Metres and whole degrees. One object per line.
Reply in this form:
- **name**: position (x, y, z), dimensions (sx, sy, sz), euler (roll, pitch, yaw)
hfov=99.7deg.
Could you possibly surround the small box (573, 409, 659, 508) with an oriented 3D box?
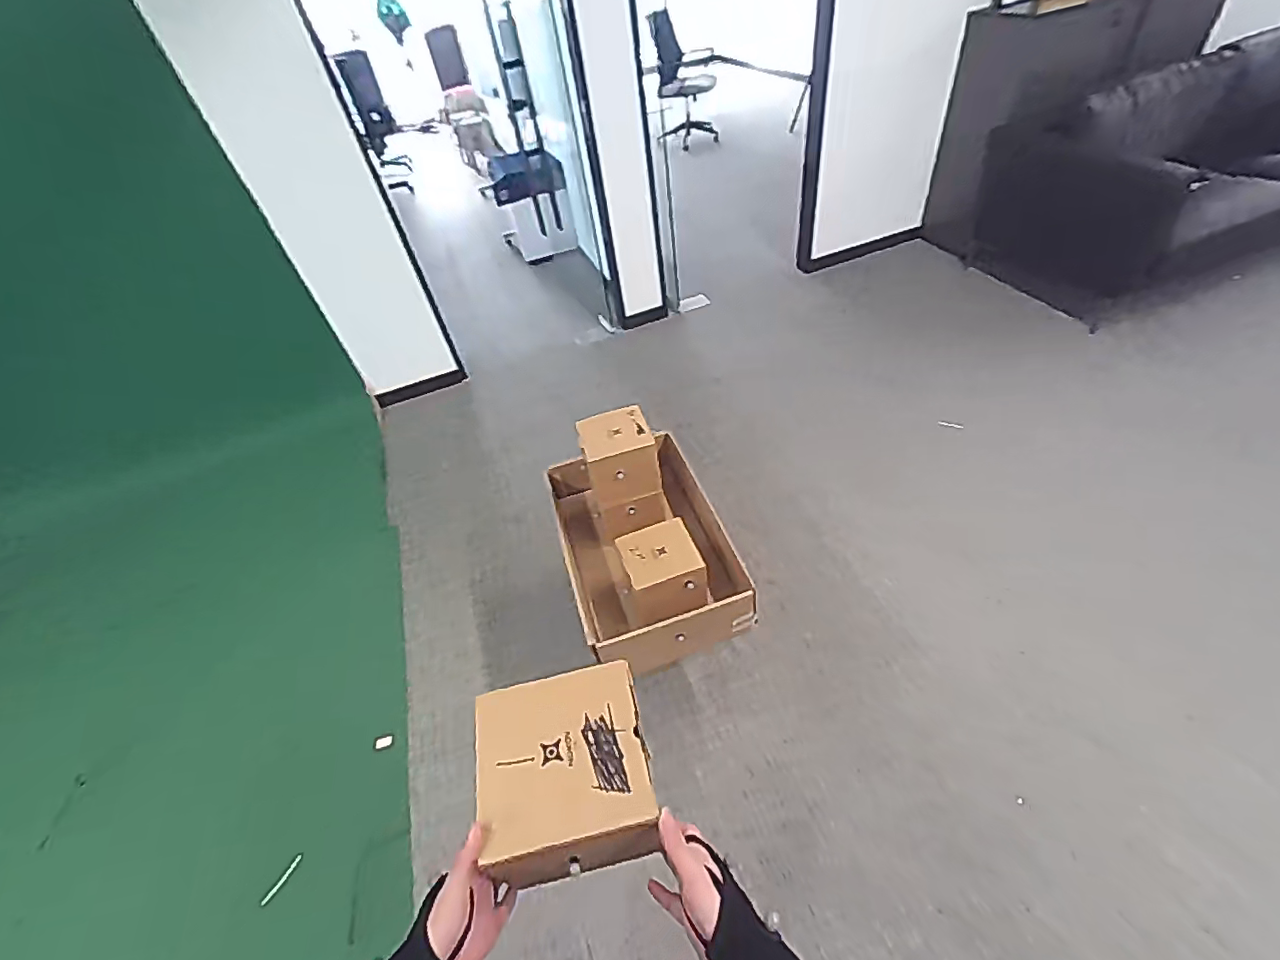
- **small box**: position (-0.059, -0.052, 1.409), dimensions (0.179, 0.176, 0.168), euler (-16, 47, -6)

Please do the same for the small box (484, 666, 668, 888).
- **small box**: position (-0.070, 0.339, 0.616), dimensions (0.179, 0.176, 0.168), euler (-10, 46, -6)

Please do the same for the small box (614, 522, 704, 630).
- **small box**: position (0.049, 0.238, 1.331), dimensions (0.179, 0.176, 0.168), euler (-18, 45, -8)

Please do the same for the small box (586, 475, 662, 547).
- **small box**: position (-0.042, 0.064, 1.524), dimensions (0.179, 0.176, 0.168), euler (-14, 46, -7)
